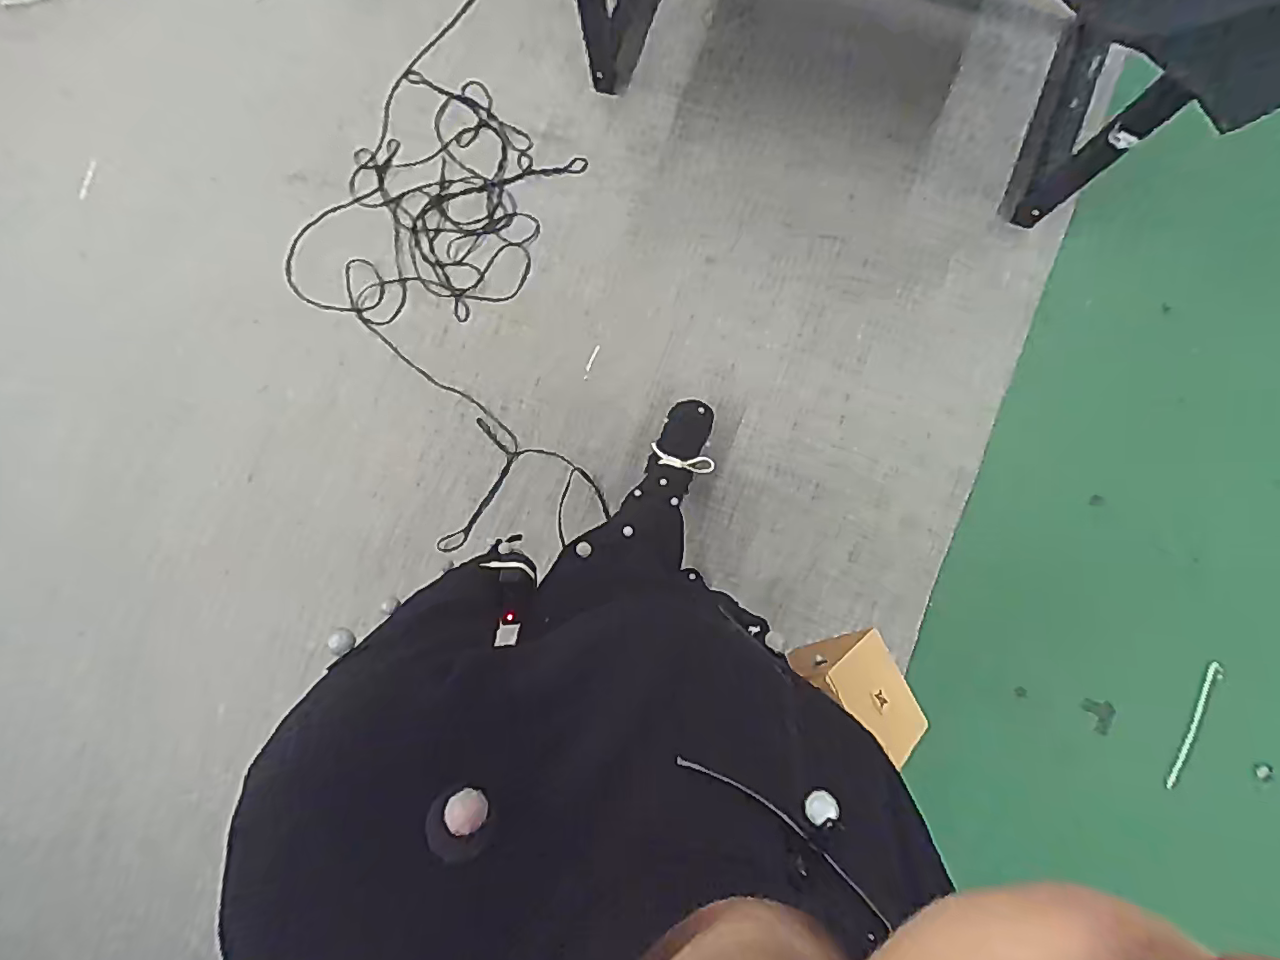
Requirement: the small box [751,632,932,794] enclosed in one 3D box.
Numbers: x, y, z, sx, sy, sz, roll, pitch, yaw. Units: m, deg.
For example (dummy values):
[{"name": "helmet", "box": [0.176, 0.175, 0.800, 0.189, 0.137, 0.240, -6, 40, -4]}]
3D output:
[{"name": "small box", "box": [0.306, 0.356, 0.835, 0.176, 0.179, 0.168, -37, 73, 45]}]
